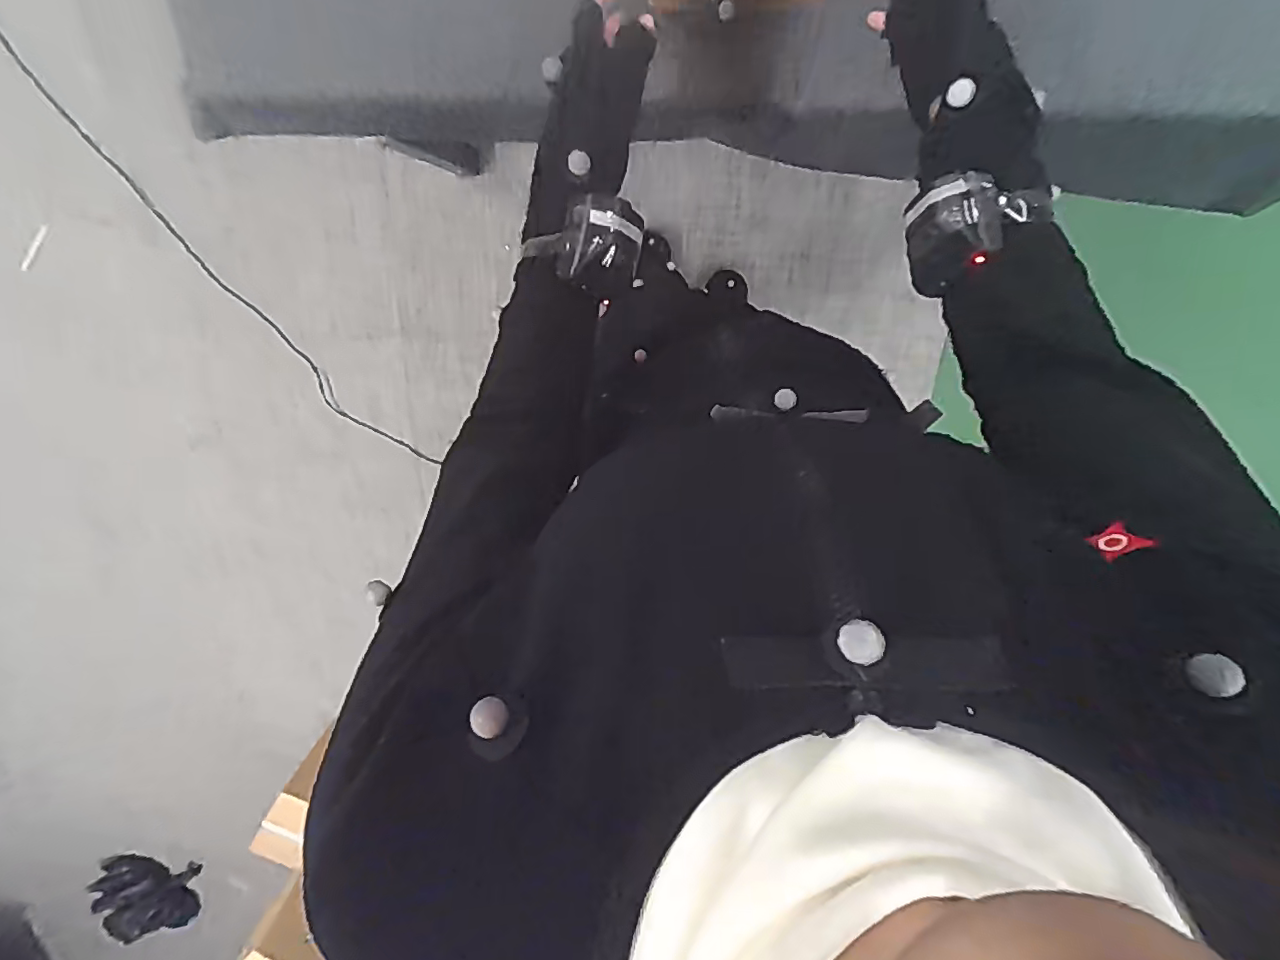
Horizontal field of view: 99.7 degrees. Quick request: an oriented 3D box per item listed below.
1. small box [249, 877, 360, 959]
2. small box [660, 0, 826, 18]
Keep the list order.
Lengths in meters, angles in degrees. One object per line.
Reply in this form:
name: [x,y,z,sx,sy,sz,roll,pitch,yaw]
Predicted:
small box: [-0.885,1.203,1.431,0.179,0.176,0.168,36,110,-10]
small box: [0.090,-0.498,0.414,0.168,0.176,0.179,1,113,4]
